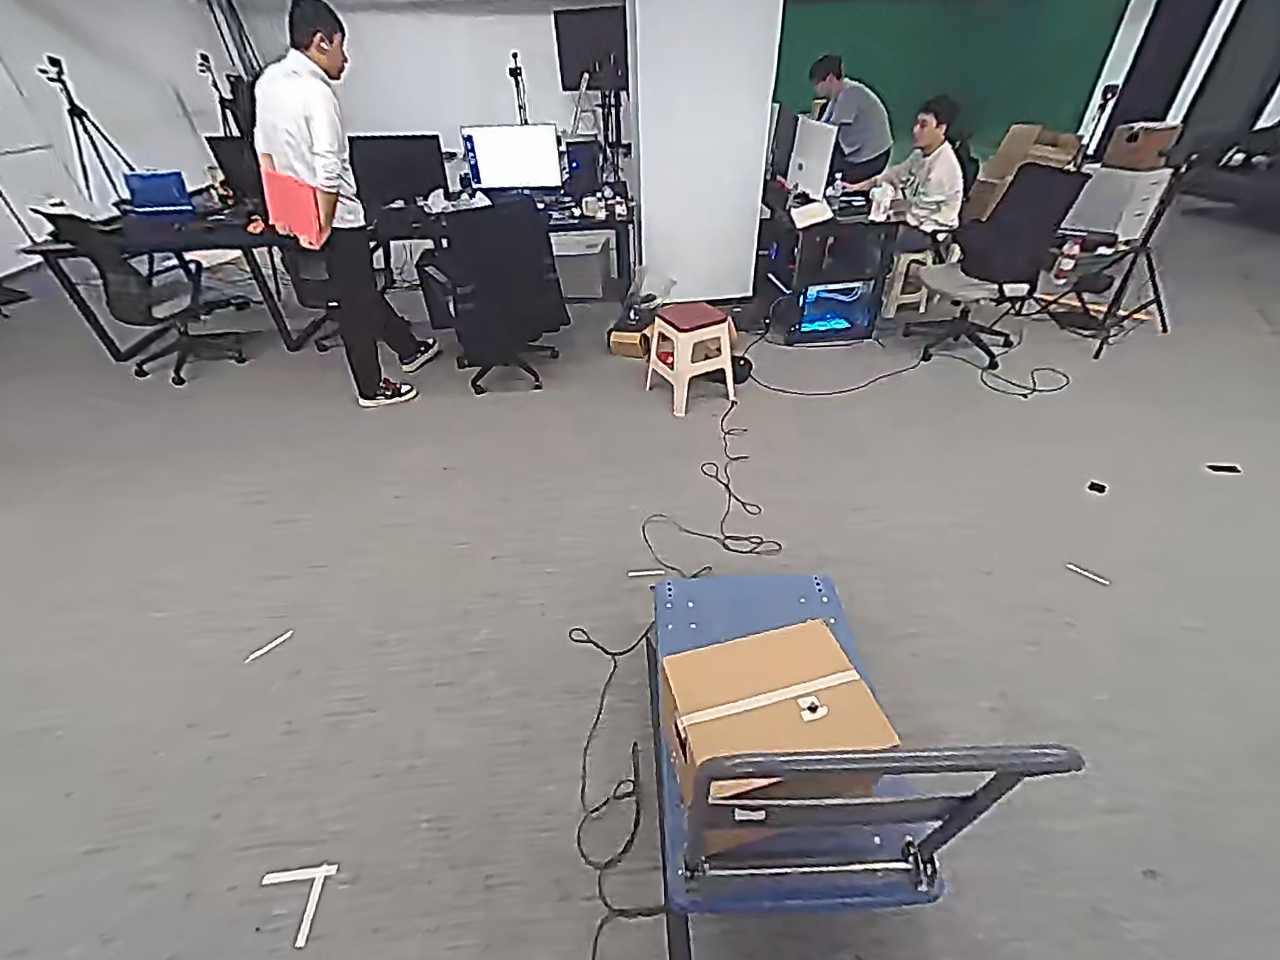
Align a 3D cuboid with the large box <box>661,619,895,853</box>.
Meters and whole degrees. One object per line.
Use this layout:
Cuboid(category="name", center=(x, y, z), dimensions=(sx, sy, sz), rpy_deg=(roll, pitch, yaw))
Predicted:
Cuboid(category="large box", center=(0.281, 0.577, 1.238), dimensions=(0.408, 0.320, 0.320), rpy_deg=(-10, 40, -11))
